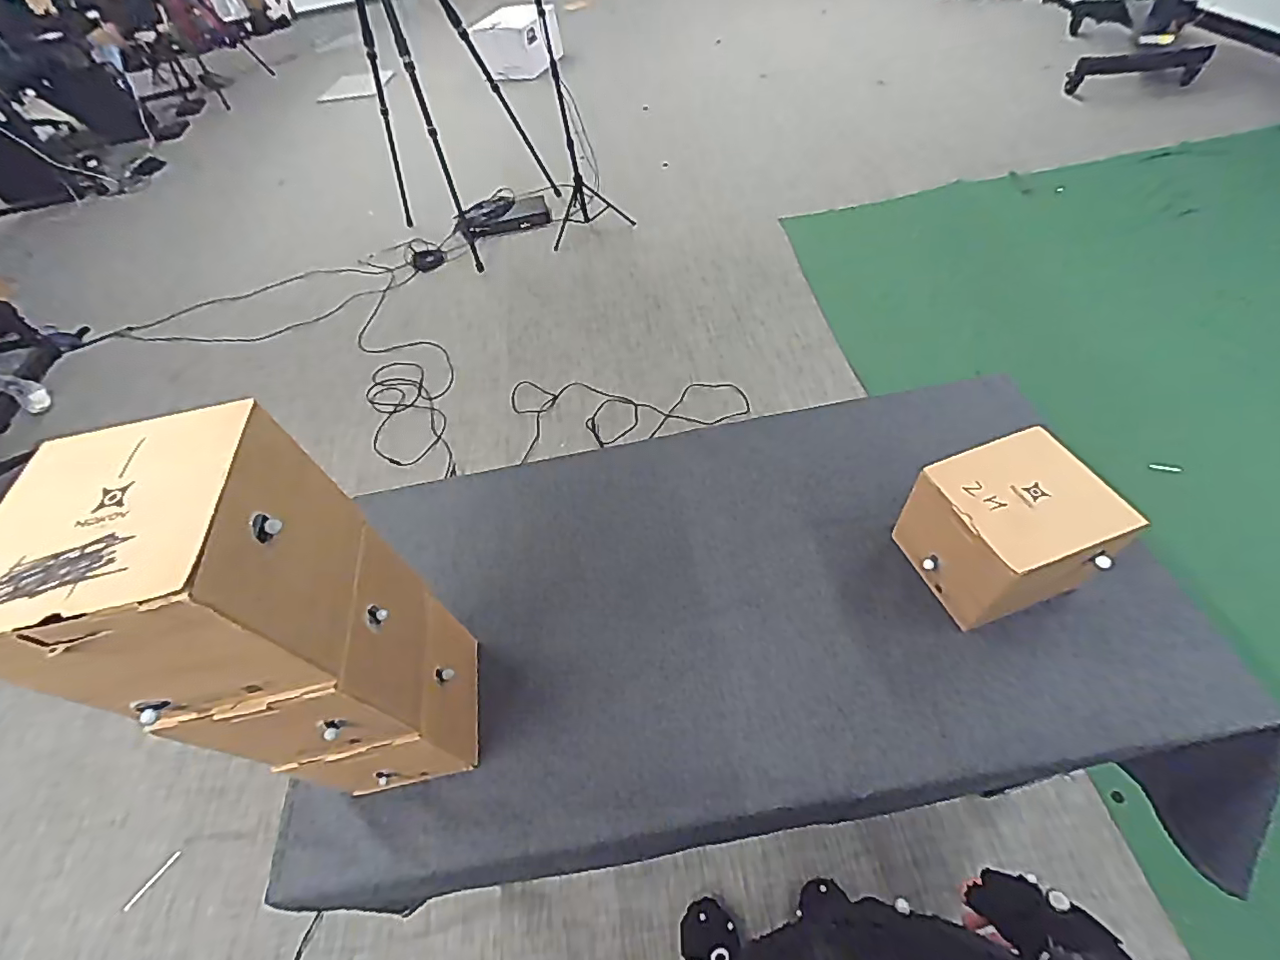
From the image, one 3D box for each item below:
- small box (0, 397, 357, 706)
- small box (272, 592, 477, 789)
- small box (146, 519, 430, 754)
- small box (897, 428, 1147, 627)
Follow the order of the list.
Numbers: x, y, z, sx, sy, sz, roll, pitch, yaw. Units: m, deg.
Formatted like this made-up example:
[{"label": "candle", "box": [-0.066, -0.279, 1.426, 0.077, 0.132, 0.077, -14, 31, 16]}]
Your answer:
[{"label": "small box", "box": [-0.355, 0.066, 0.434, 0.168, 0.176, 0.179, -12, 52, -2]}, {"label": "small box", "box": [-0.316, 0.270, 0.687, 0.168, 0.176, 0.179, -12, 53, -1]}, {"label": "small box", "box": [-0.334, 0.169, 0.560, 0.168, 0.176, 0.179, -11, 52, -1]}, {"label": "small box", "box": [0.474, 0.066, 0.708, 0.179, 0.176, 0.168, -19, 52, -5]}]
